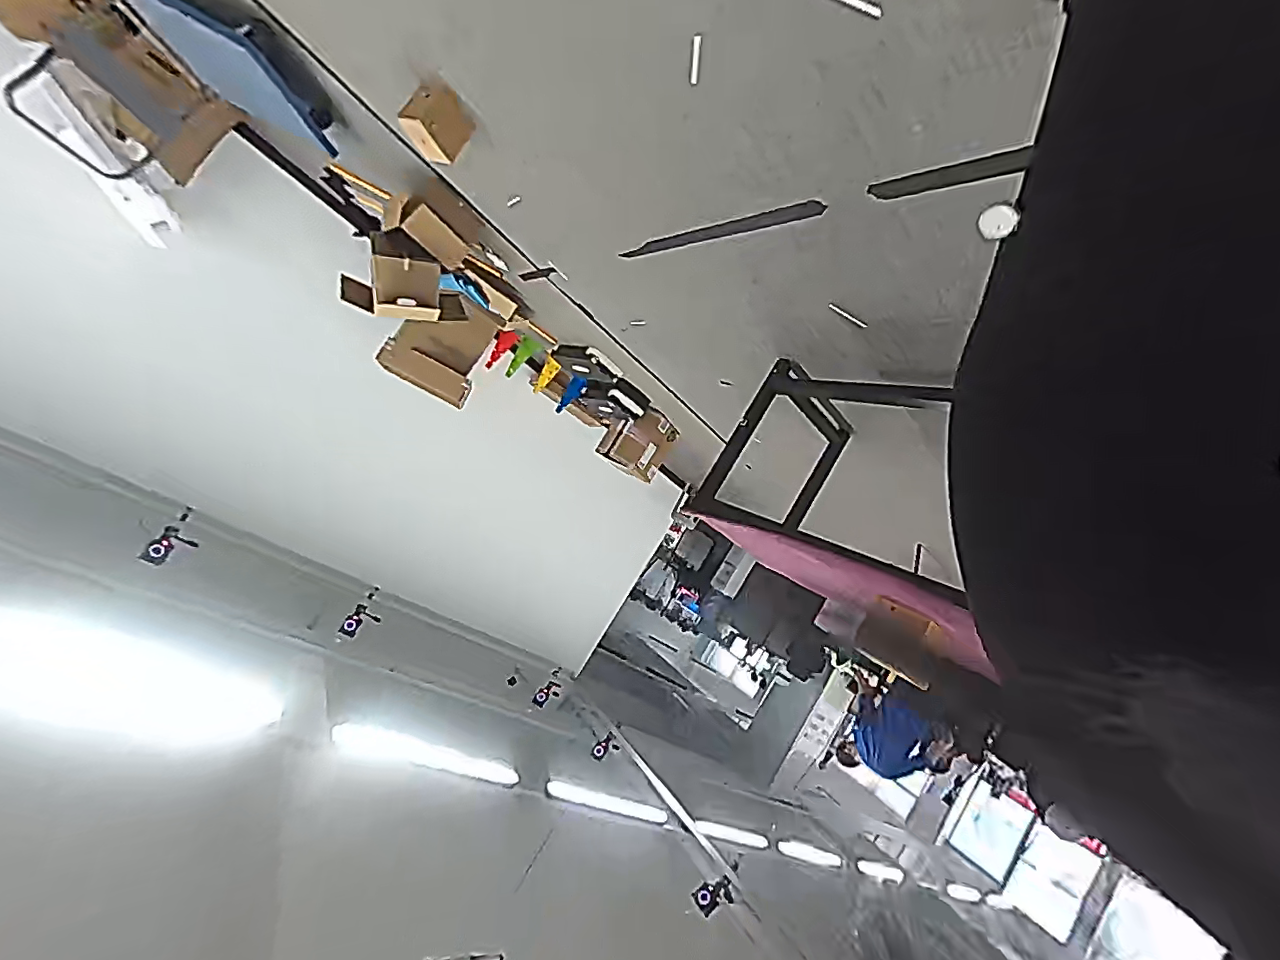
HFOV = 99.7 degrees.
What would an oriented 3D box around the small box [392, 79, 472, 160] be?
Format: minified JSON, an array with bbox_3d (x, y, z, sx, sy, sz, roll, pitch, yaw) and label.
[{"bbox_3d":[-0.753,-1.317,1.978,0.168,0.176,0.179,29,172,31],"label":"small box"}]
